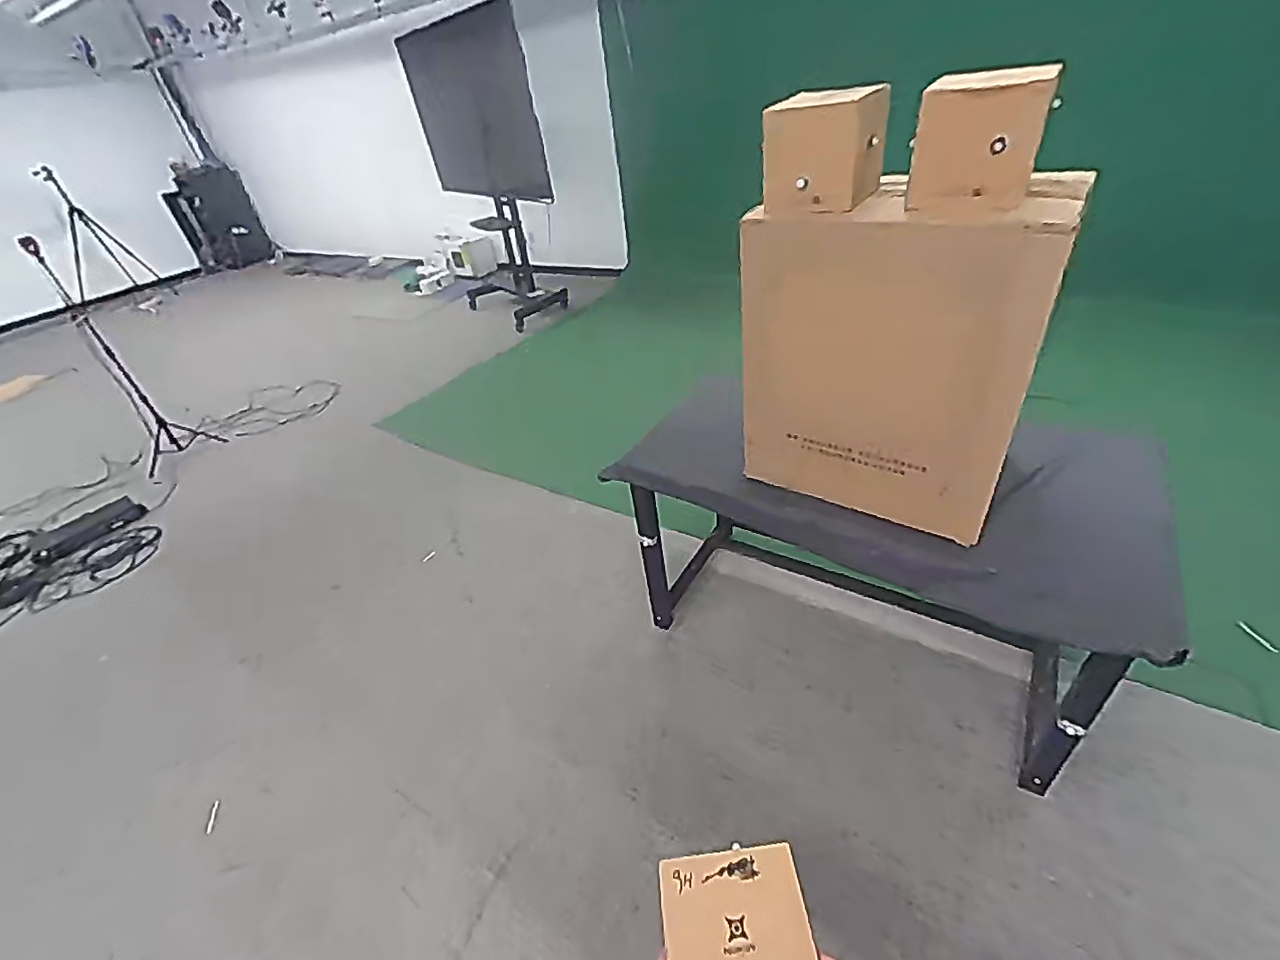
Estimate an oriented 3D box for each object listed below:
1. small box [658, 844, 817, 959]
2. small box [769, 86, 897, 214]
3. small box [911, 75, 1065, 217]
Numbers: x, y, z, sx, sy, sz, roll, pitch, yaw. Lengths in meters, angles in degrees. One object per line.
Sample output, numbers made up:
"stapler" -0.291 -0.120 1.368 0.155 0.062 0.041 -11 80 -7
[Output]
"small box" 0.125 0.587 0.660 0.168 0.176 0.179 -11 35 0
"small box" 0.346 -0.601 0.989 0.168 0.176 0.179 20 47 34
"small box" 0.555 -0.538 0.876 0.168 0.176 0.179 18 45 27
